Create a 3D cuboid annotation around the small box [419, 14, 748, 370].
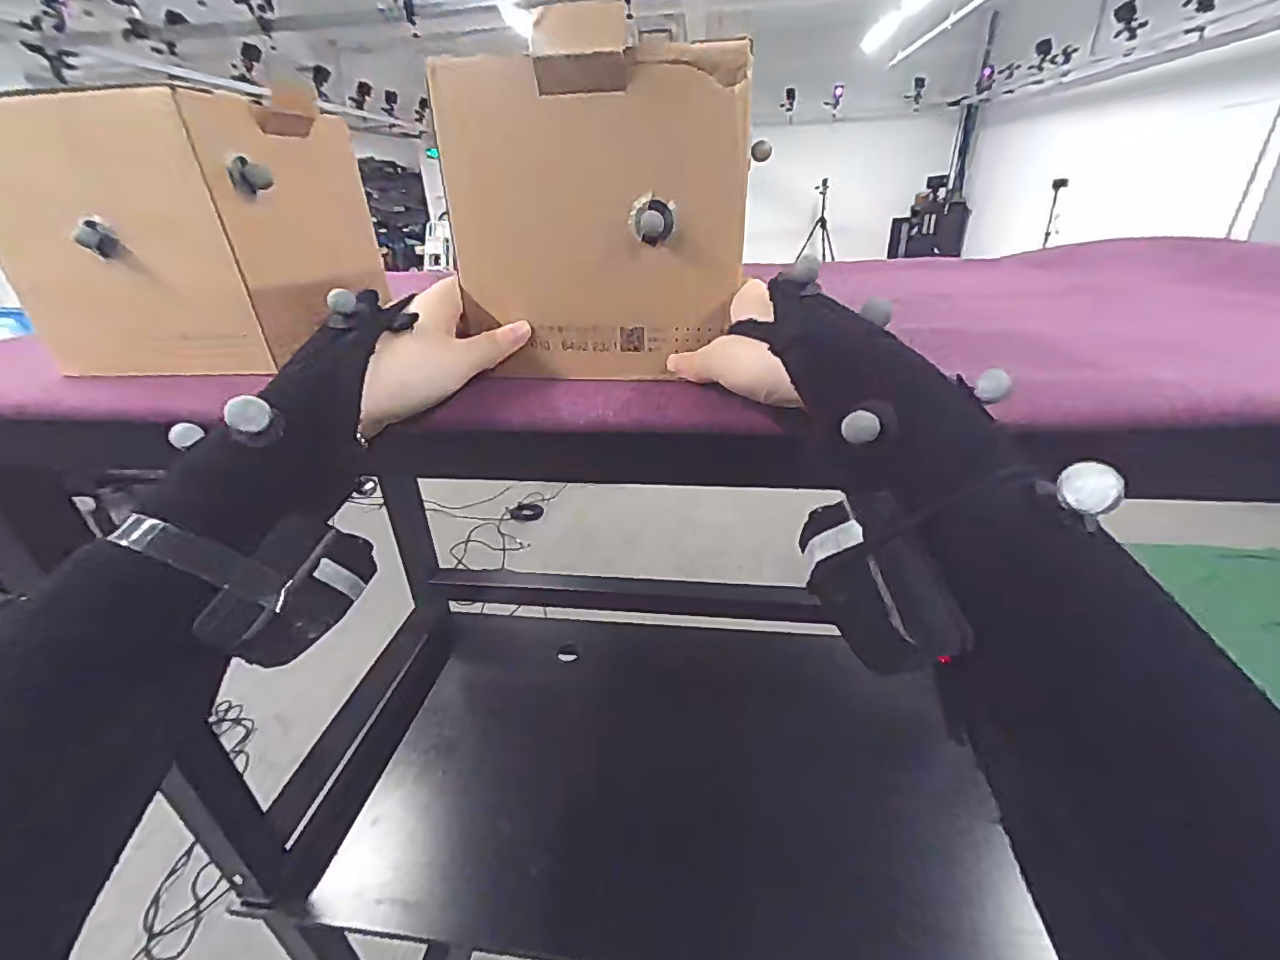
[{"bbox_3d":[-0.015,-0.177,0.364,0.168,0.176,0.179,4,28,8],"label":"small box"}]
